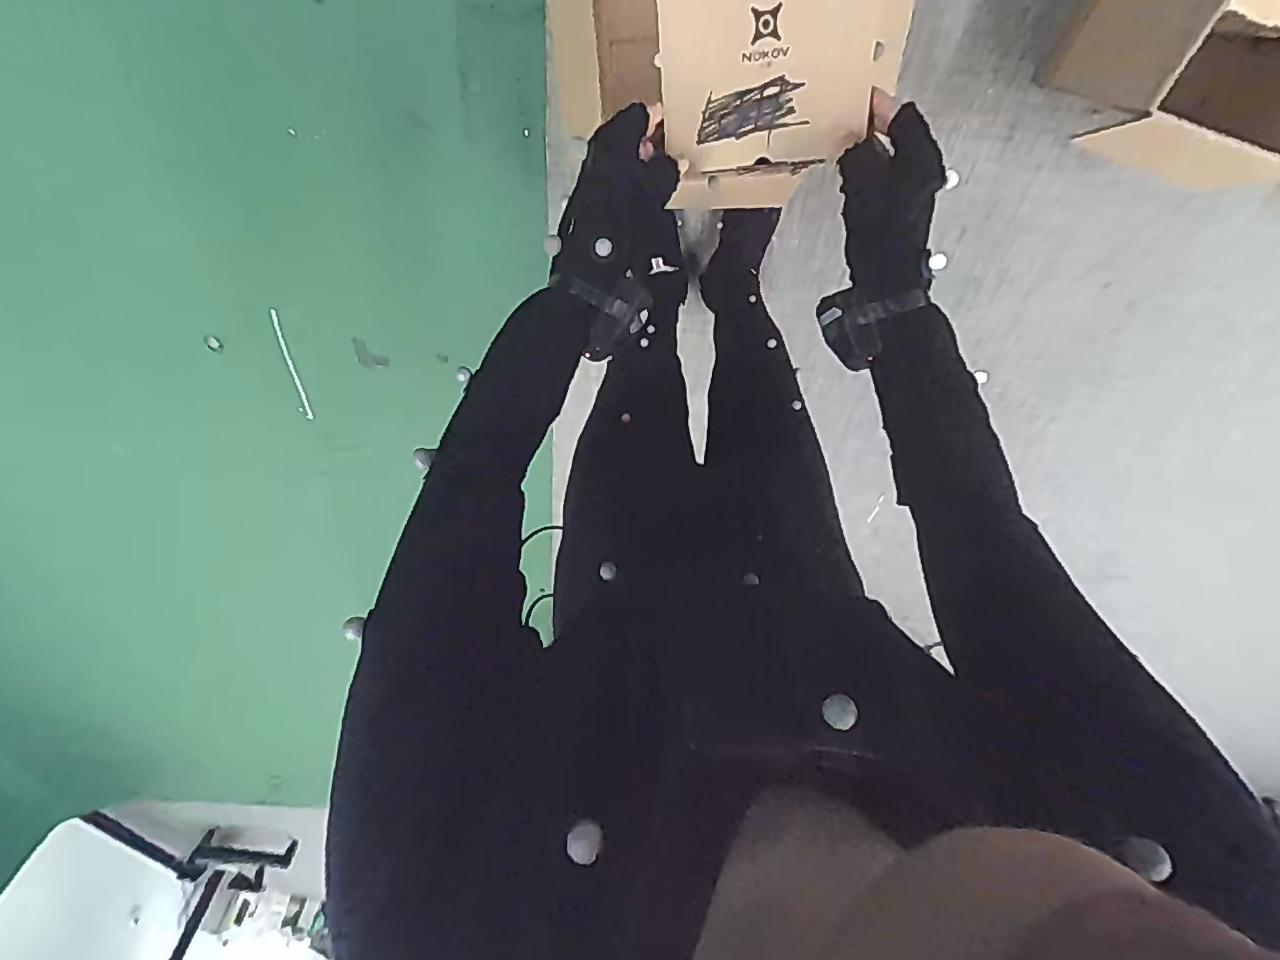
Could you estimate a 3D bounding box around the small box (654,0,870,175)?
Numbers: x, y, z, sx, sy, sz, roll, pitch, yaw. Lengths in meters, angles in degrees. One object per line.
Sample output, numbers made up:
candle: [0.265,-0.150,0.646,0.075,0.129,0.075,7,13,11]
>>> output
small box: [0.108,-0.384,0.491,0.168,0.176,0.179,1,118,12]
